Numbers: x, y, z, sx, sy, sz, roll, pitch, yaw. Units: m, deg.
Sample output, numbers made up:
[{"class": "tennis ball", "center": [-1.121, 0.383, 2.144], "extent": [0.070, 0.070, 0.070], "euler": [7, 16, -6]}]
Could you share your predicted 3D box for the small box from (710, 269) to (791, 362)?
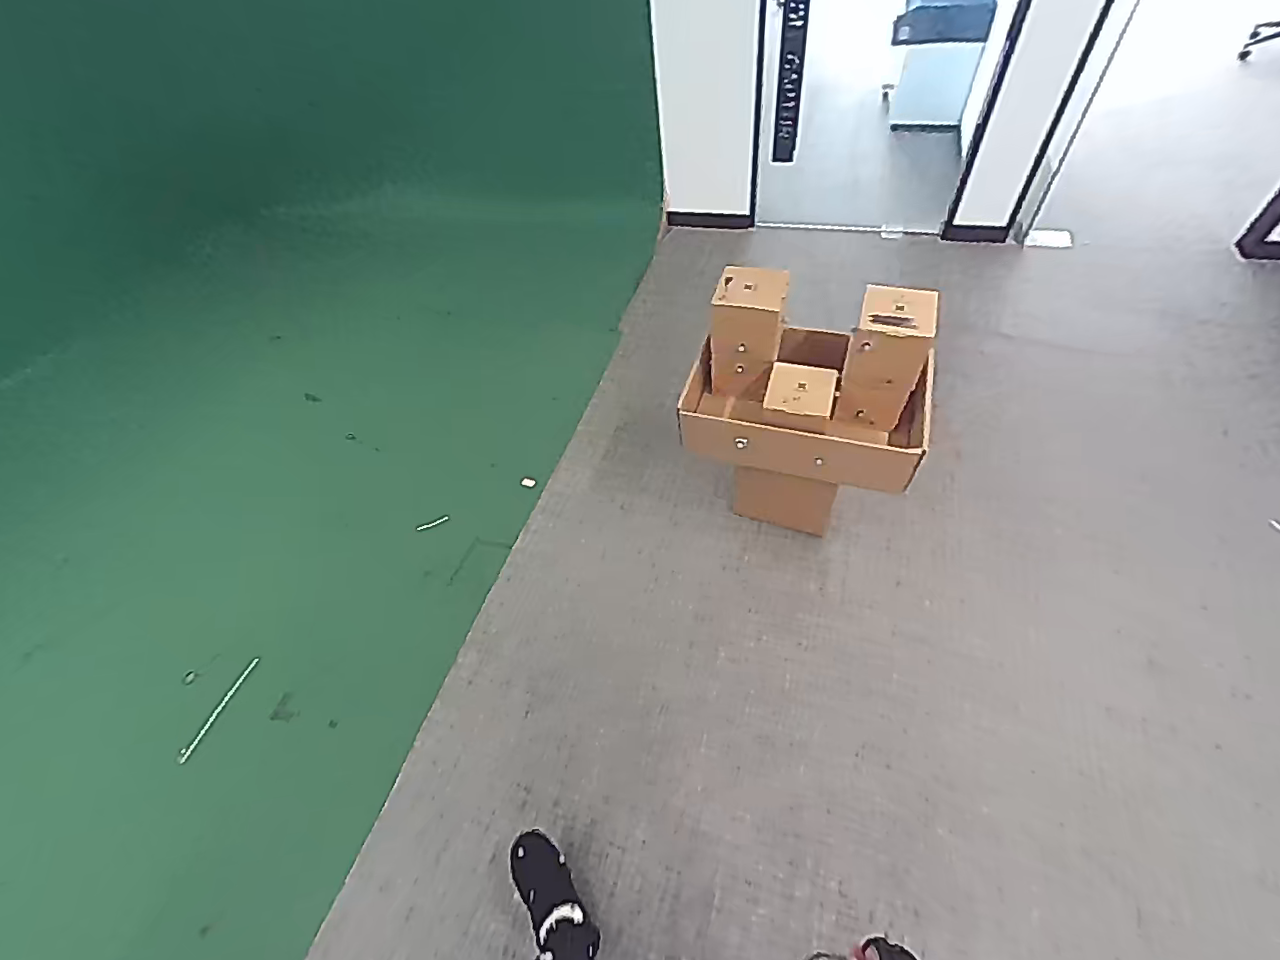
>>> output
[{"class": "small box", "center": [0.293, -0.438, 1.453], "extent": [0.179, 0.176, 0.168], "euler": [13, 57, 15]}]
